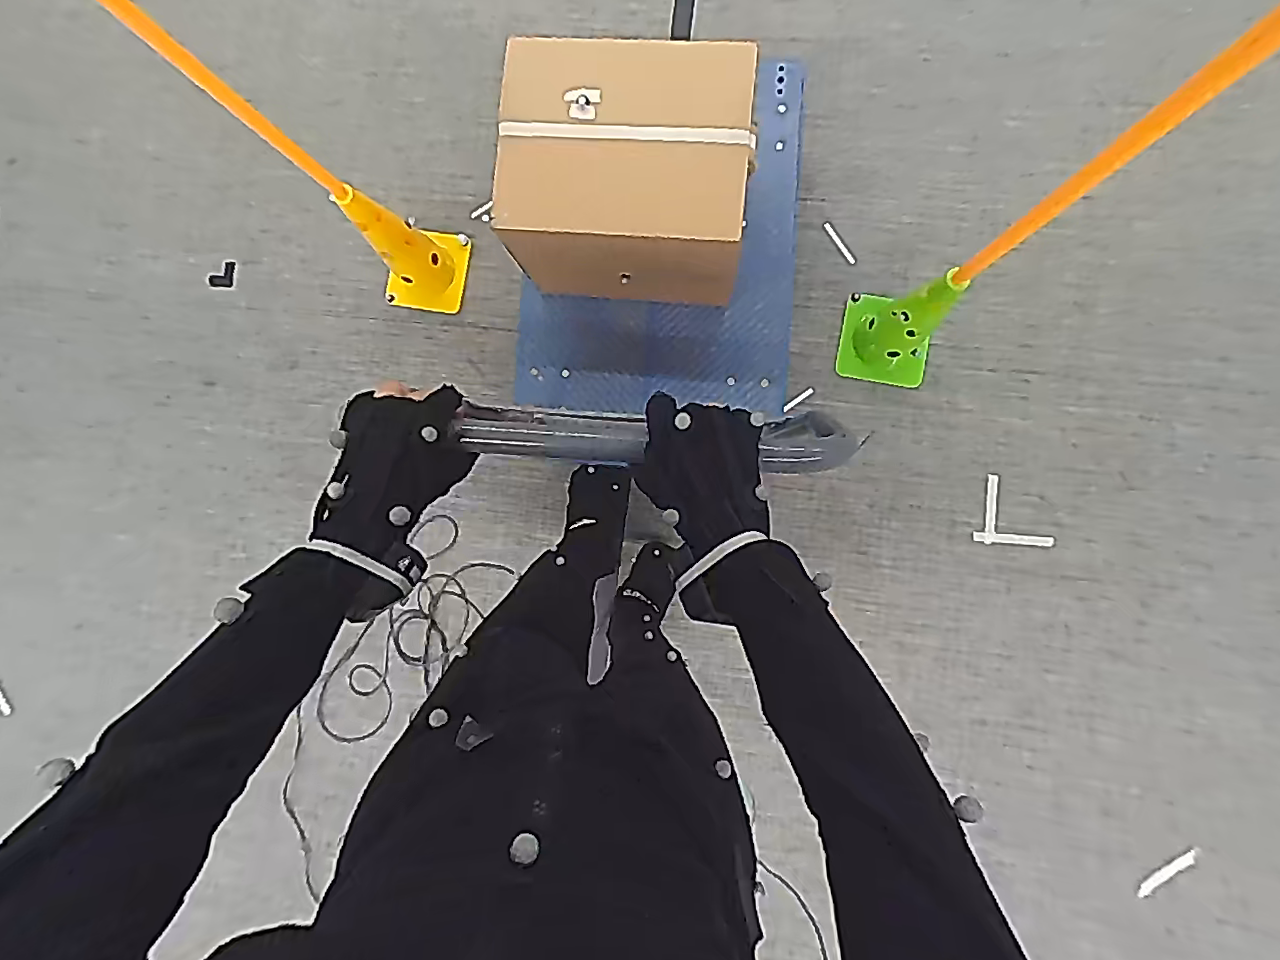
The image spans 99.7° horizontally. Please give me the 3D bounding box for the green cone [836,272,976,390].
[{"bbox_3d":[0.562,-0.328,1.102,0.202,0.368,0.200,11,89,4],"label":"green cone"}]

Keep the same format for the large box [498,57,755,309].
[{"bbox_3d":[-0.009,-0.527,1.018,0.408,0.320,0.320,6,89,6],"label":"large box"}]
